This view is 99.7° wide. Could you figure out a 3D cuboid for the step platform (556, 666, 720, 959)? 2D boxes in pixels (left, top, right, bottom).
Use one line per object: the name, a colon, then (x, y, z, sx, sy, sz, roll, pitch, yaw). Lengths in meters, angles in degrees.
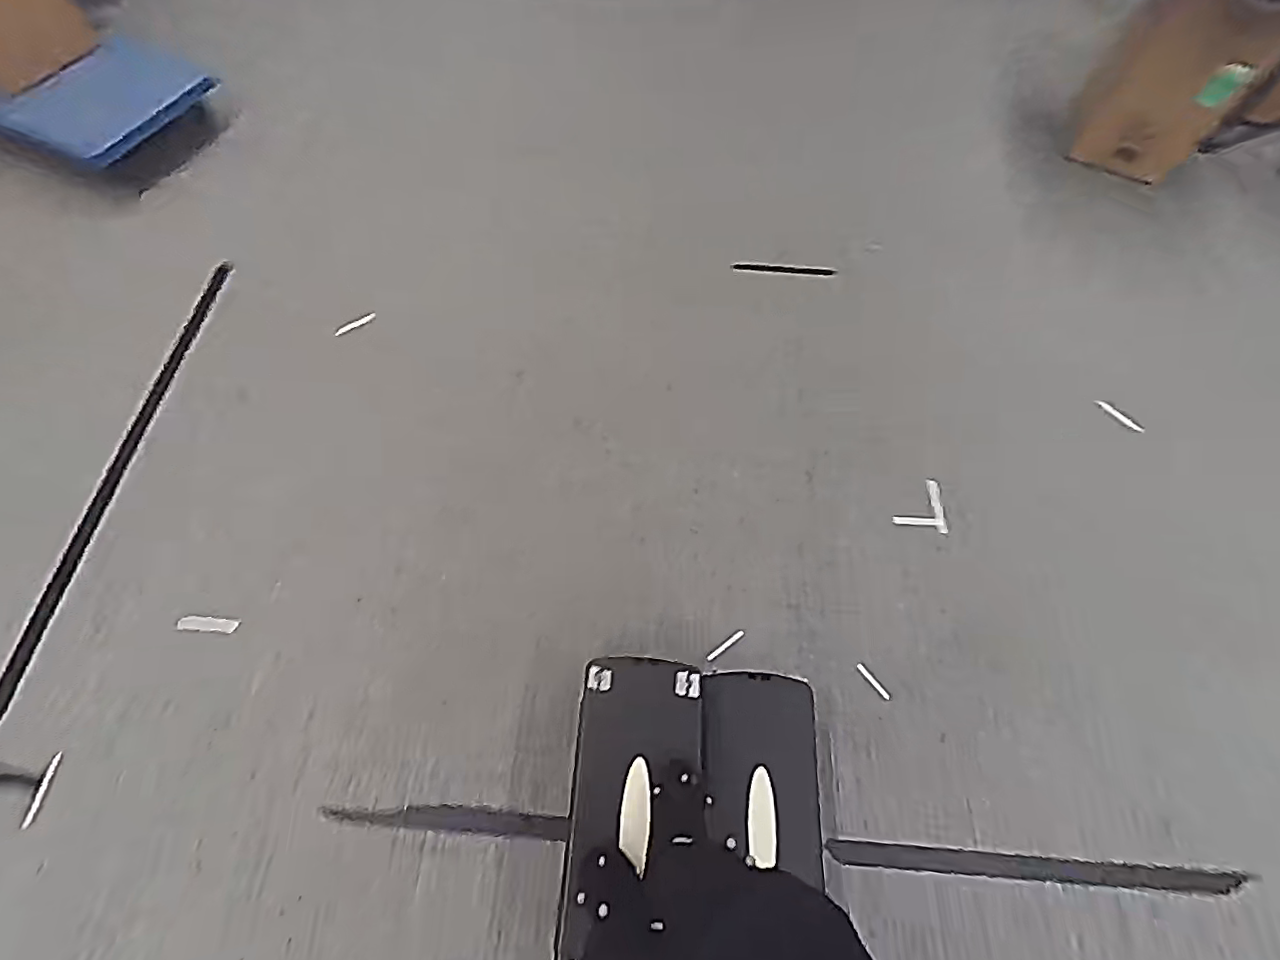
step platform: (0.005, 0.767, 1.179, 0.286, 0.204, 0.684, 8, 62, 1)
